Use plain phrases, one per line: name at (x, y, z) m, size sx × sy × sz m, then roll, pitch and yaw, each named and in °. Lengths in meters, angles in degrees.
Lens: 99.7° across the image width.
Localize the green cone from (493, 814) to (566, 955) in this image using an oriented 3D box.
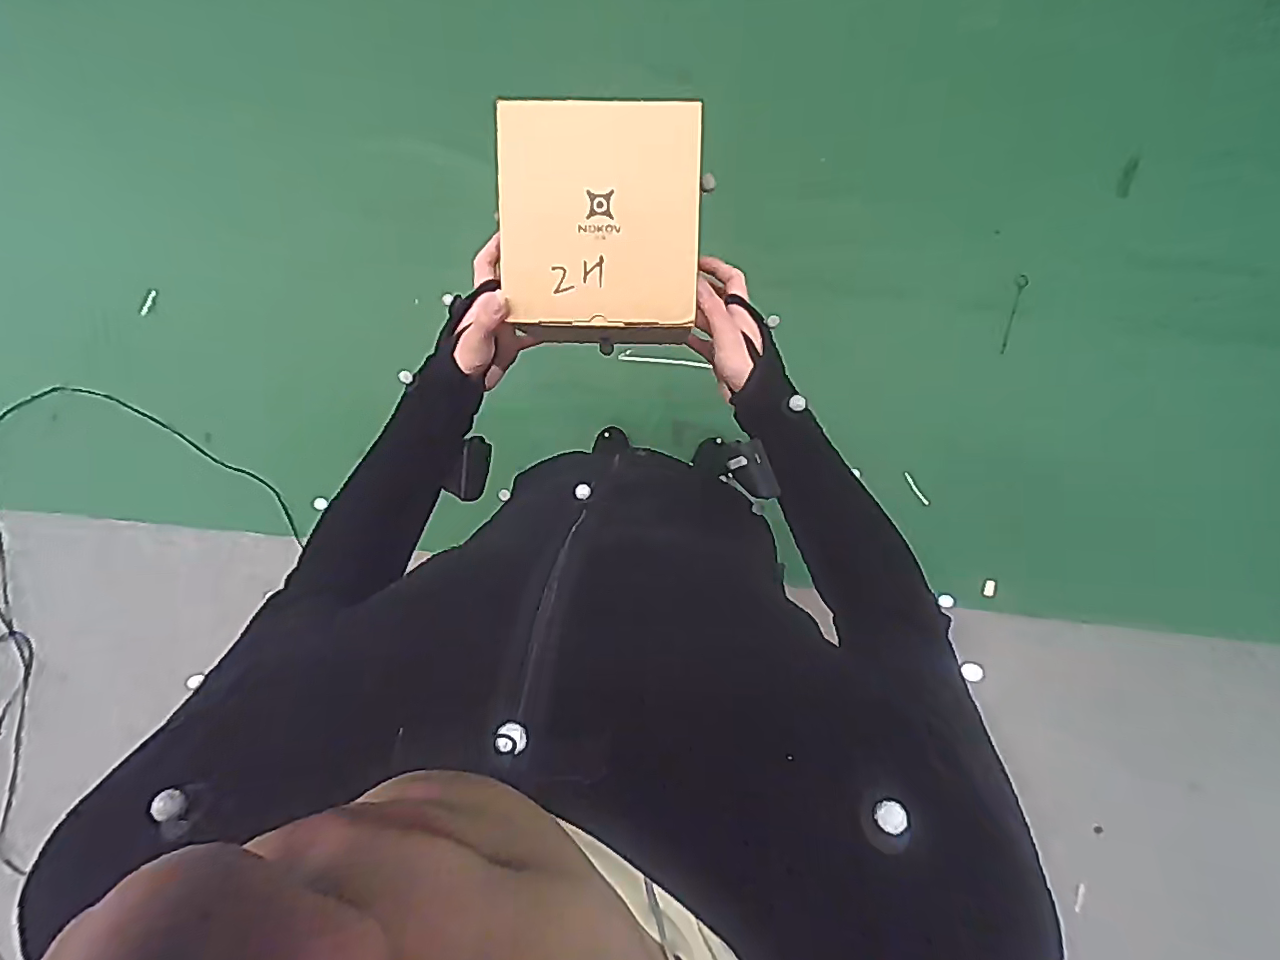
green cone at (-0.351, 1.201, 1.585) m, size 0.202 × 0.368 × 0.200 m, roll 6°, pitch 95°, yaw 2°
